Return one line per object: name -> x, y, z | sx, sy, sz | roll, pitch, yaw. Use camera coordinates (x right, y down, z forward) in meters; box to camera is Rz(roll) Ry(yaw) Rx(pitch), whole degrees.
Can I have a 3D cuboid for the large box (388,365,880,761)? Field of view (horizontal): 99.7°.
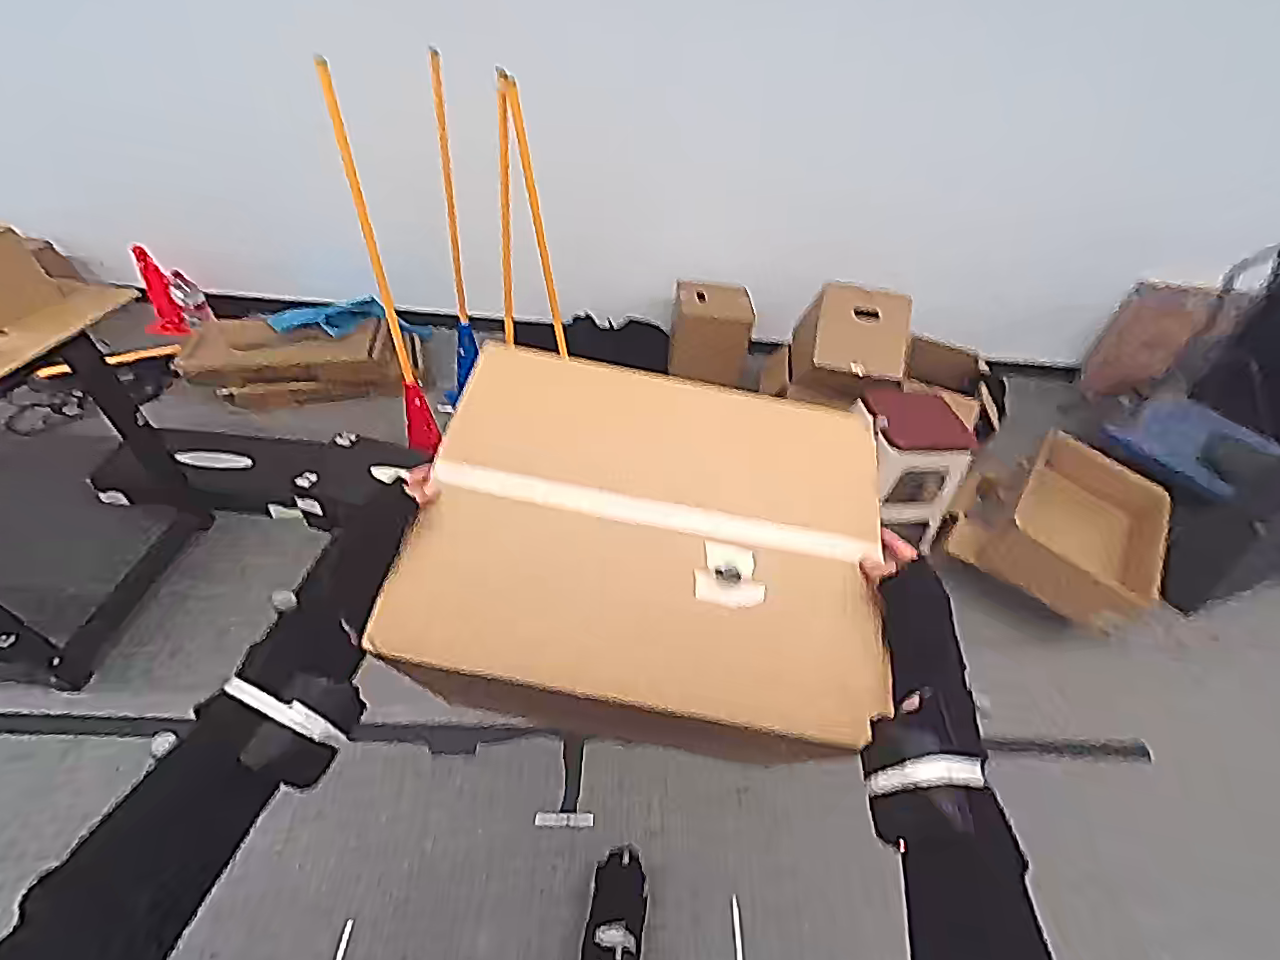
large box -> 0.000, 0.117, 0.625 | 0.408, 0.320, 0.320 | 12, 60, -1
